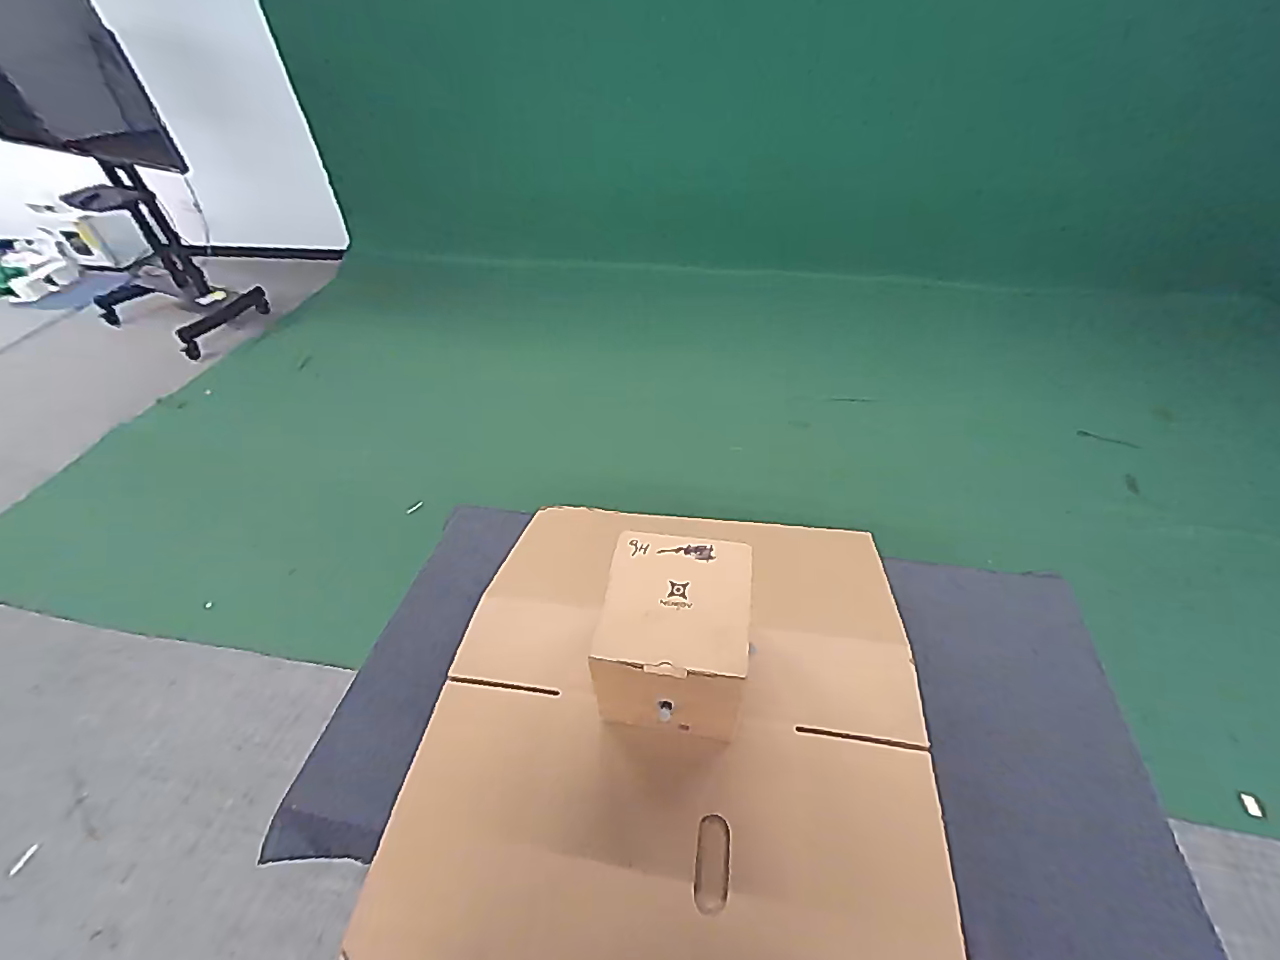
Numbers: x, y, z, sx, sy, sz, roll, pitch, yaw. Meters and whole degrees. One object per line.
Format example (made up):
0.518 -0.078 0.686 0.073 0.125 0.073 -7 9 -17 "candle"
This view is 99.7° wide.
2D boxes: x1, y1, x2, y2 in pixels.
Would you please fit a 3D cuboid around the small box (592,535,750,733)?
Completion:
0.046 0.191 0.668 0.168 0.176 0.179 3 45 7 "small box"
